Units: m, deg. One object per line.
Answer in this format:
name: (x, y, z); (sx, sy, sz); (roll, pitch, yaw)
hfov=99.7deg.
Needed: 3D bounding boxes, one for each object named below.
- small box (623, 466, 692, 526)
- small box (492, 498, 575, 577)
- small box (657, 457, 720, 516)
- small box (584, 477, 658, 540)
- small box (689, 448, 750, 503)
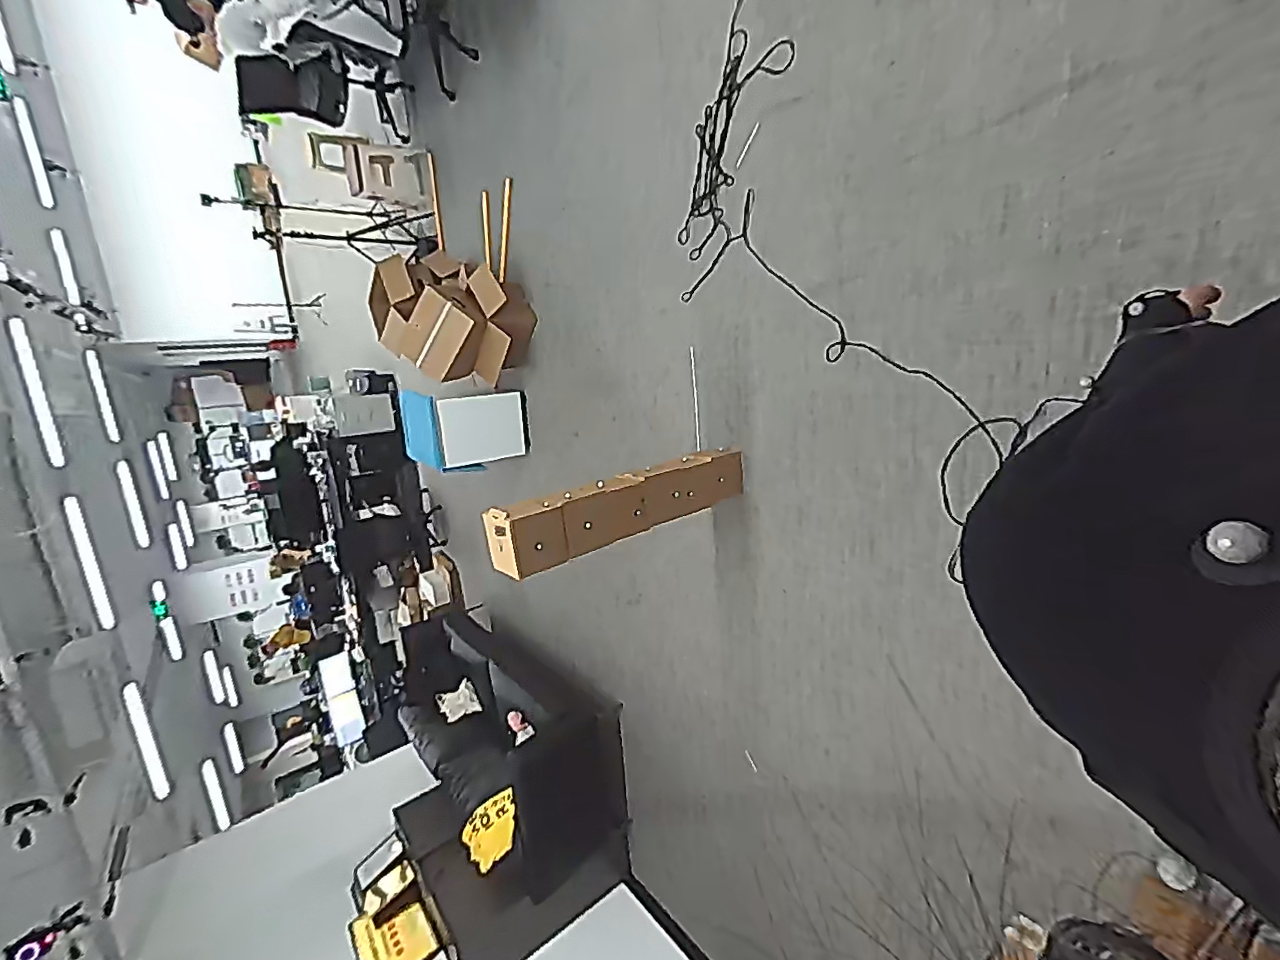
small box: (0.063, 0.049, 1.888); (0.168, 0.176, 0.179); (7, 106, 52)
small box: (-0.309, 0.160, 1.587); (0.168, 0.176, 0.179); (9, 110, 50)
small box: (0.182, 0.020, 1.996); (0.168, 0.176, 0.179); (9, 109, 51)
small box: (-0.062, 0.088, 1.791); (0.179, 0.176, 0.168); (6, 106, 51)
small box: (0.310, -0.022, 2.090); (0.168, 0.176, 0.179); (10, 108, 52)
